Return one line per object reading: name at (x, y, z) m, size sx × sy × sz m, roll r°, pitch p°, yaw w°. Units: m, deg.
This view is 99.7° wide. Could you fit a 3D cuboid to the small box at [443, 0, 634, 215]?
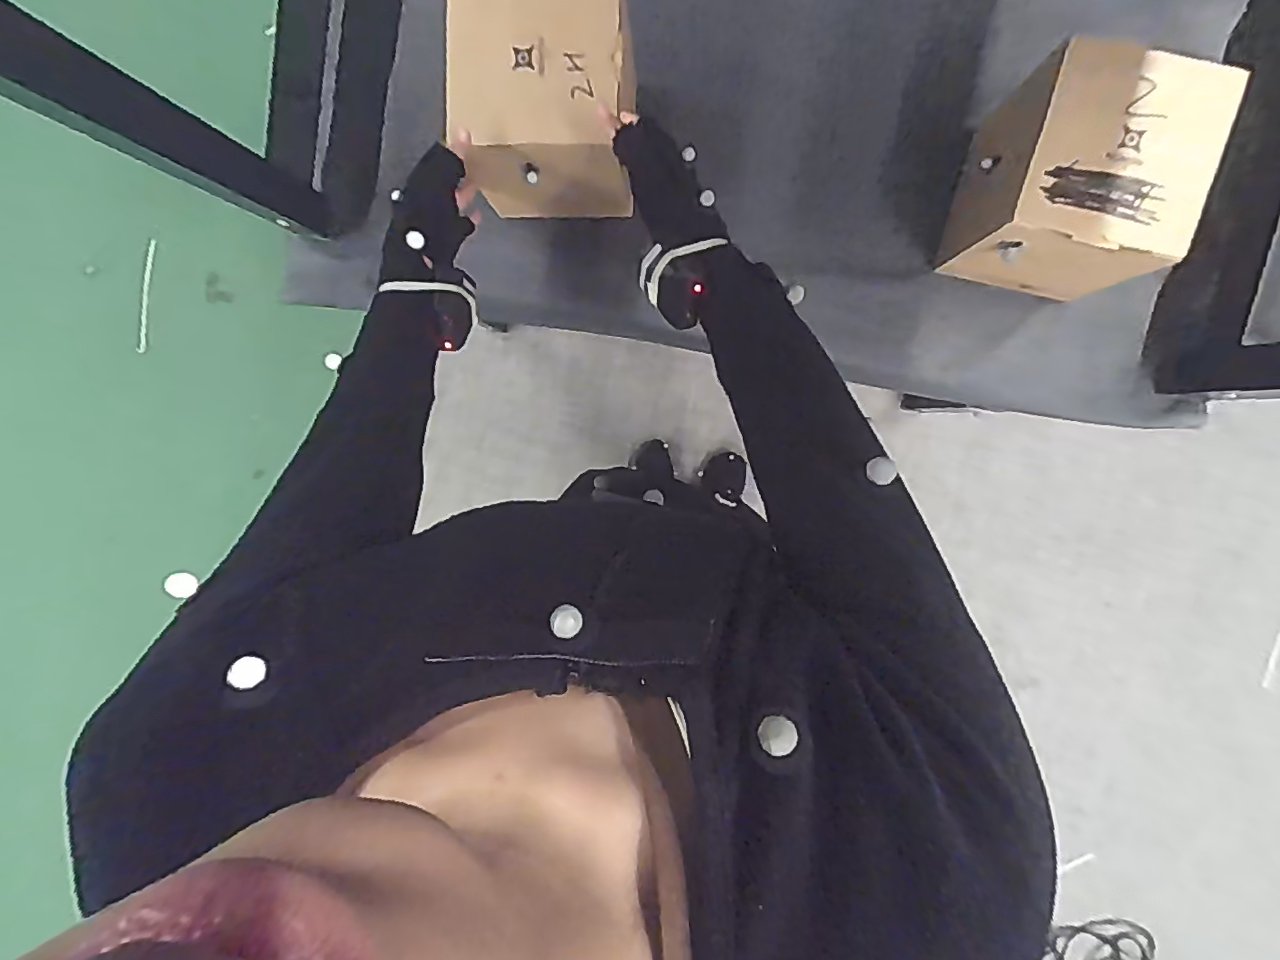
small box at (-0.103, -0.417, 0.612) m, size 0.179 × 0.176 × 0.168 m, roll 2°, pitch 94°, yaw 3°
